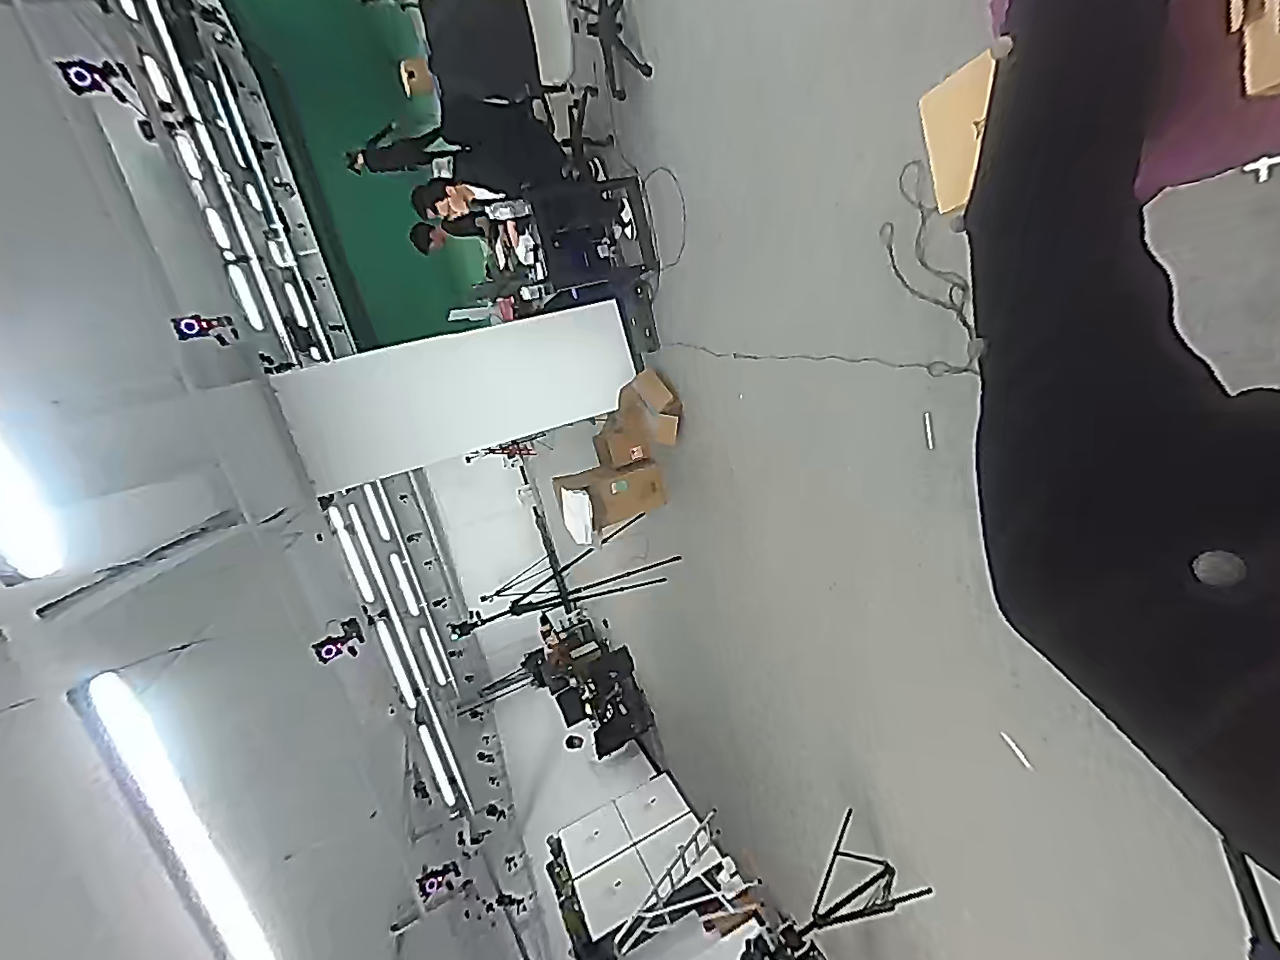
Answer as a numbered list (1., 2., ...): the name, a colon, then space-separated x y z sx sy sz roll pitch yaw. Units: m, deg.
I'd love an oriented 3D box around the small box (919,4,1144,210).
1. small box: 0.521 -0.492 0.731 0.179 0.176 0.168 7 114 68
